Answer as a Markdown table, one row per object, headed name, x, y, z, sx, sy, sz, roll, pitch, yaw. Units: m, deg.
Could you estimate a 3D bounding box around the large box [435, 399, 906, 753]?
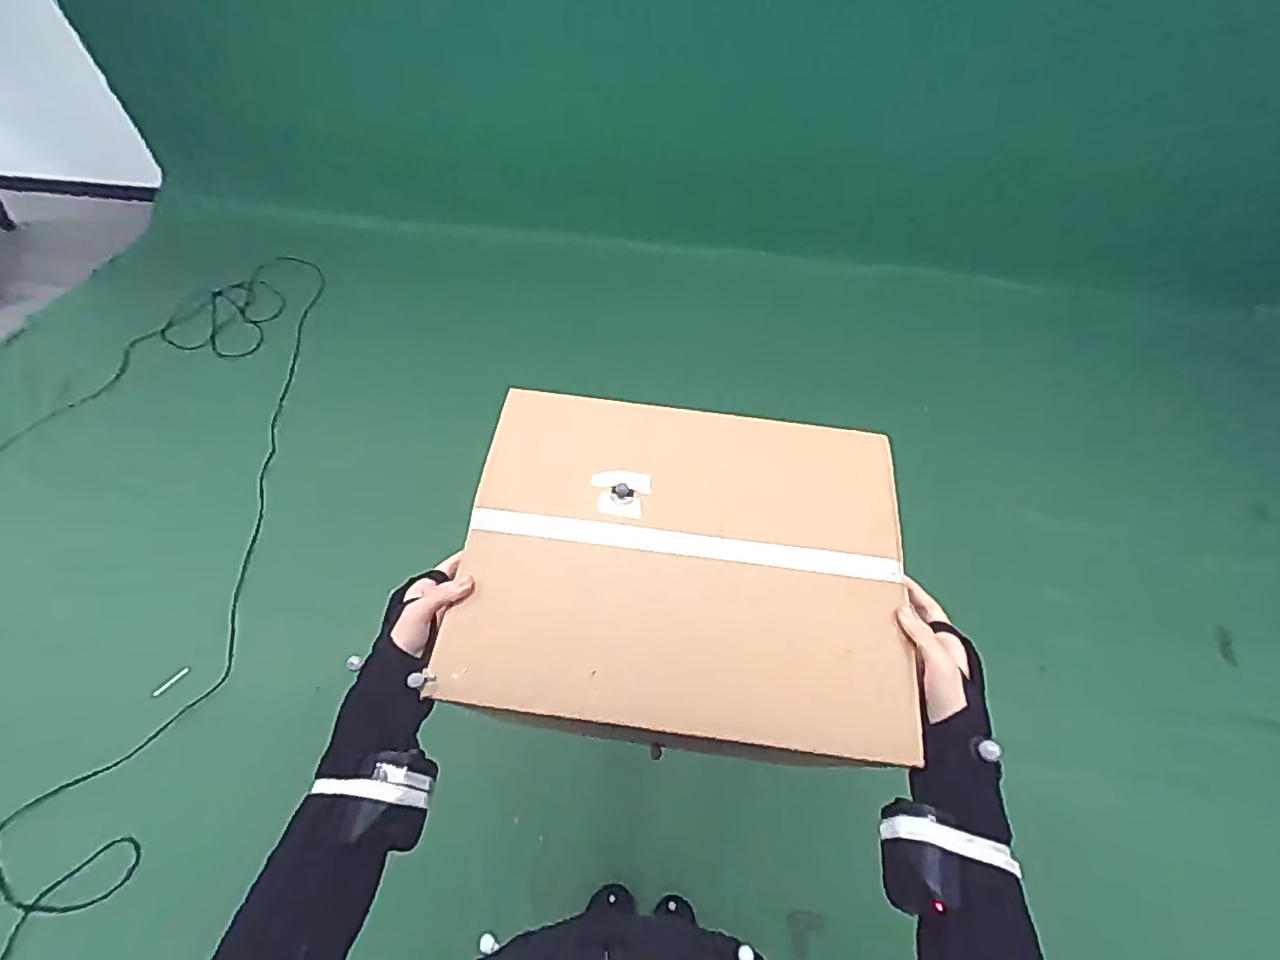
| name | x | y | z | sx | sy | sz | roll | pitch | yaw |
| --- | --- | --- | --- | --- | --- | --- | --- | --- | --- |
| large box | 0.039 | 0.132 | 0.648 | 0.408 | 0.320 | 0.320 | 7 | 63 | 3 |
